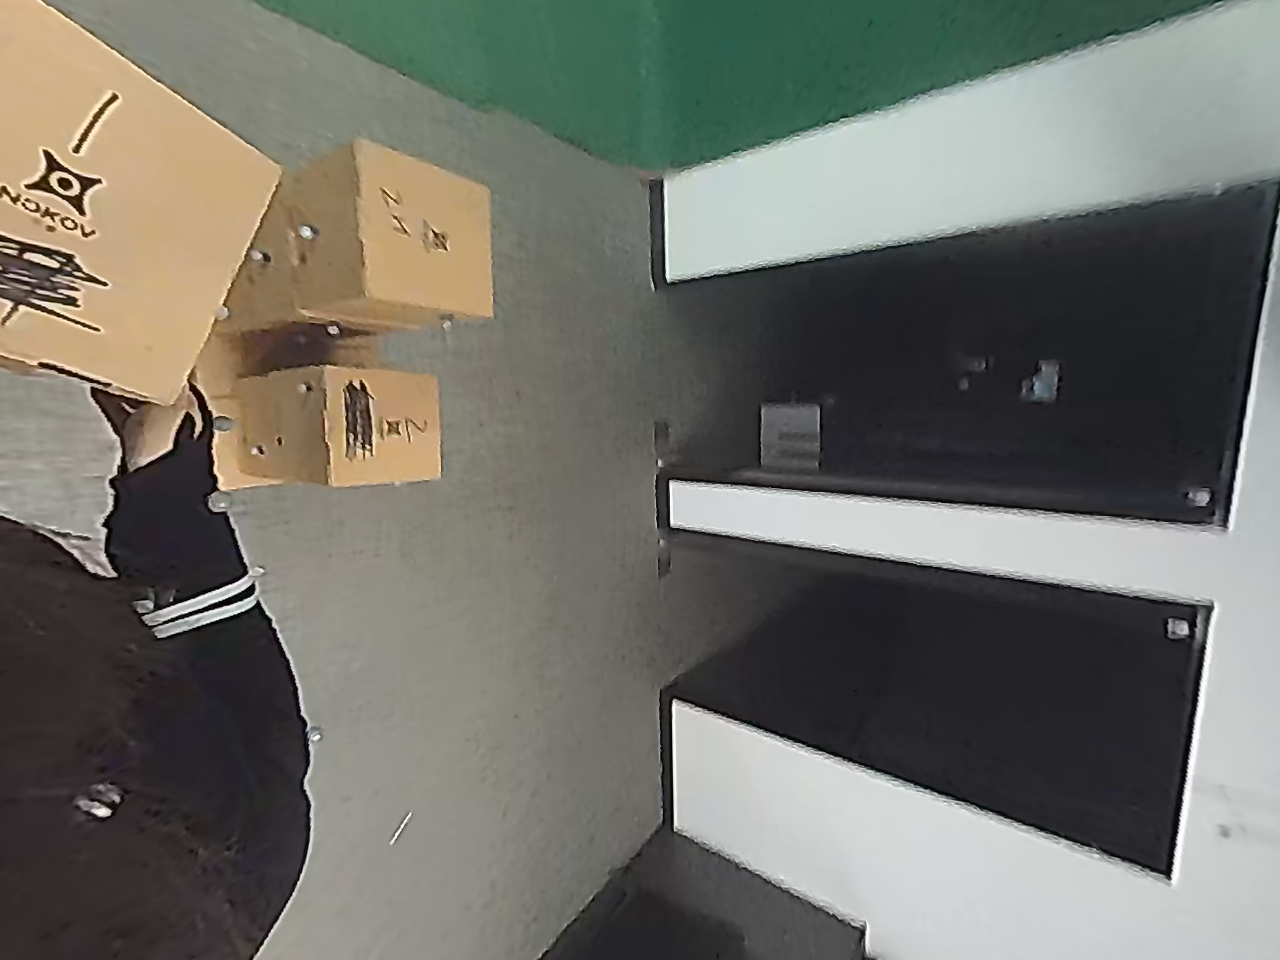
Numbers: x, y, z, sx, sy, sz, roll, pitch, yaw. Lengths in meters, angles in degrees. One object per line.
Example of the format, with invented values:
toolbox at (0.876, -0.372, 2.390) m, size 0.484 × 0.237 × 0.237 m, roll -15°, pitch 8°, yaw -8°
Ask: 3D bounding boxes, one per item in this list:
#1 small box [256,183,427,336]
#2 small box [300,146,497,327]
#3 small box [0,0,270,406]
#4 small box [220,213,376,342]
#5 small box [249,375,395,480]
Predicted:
small box at (-0.441, -0.307, 0.798) m, size 0.179 × 0.176 × 0.168 m, roll -10°, pitch 104°, yaw -51°
small box at (-0.308, -0.295, 0.701) m, size 0.179 × 0.176 × 0.168 m, roll -10°, pitch 103°, yaw -52°
small box at (-0.374, -0.163, 0.333) m, size 0.168 × 0.176 × 0.179 m, roll 26°, pitch 80°, yaw -52°
small box at (-0.569, -0.323, 0.900) m, size 0.179 × 0.176 × 0.168 m, roll -12°, pitch 105°, yaw -51°
small box at (-0.557, -0.090, 0.946) m, size 0.179 × 0.176 × 0.168 m, roll -8°, pitch 100°, yaw -54°
